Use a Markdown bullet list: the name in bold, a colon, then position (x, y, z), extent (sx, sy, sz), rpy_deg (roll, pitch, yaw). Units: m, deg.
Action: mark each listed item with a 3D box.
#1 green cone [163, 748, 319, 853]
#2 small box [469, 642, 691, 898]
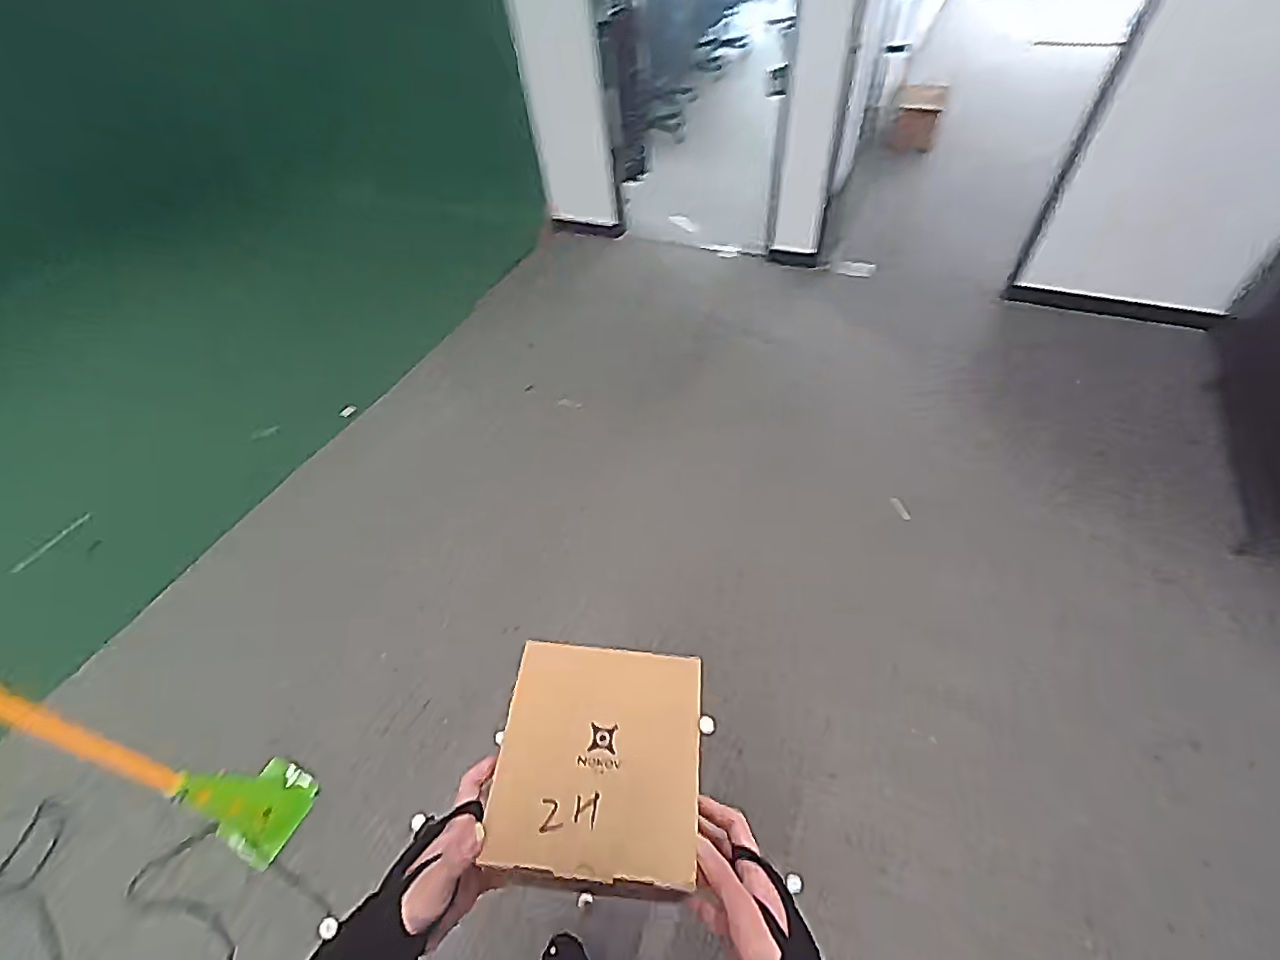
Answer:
- **green cone**: position (-1.022, 0.761, 1.340), extent (0.200, 0.368, 0.202), rpy_deg (18, 56, 20)
- **small box**: position (-0.044, 0.279, 0.517), extent (0.168, 0.176, 0.179), rpy_deg (5, 50, 2)
